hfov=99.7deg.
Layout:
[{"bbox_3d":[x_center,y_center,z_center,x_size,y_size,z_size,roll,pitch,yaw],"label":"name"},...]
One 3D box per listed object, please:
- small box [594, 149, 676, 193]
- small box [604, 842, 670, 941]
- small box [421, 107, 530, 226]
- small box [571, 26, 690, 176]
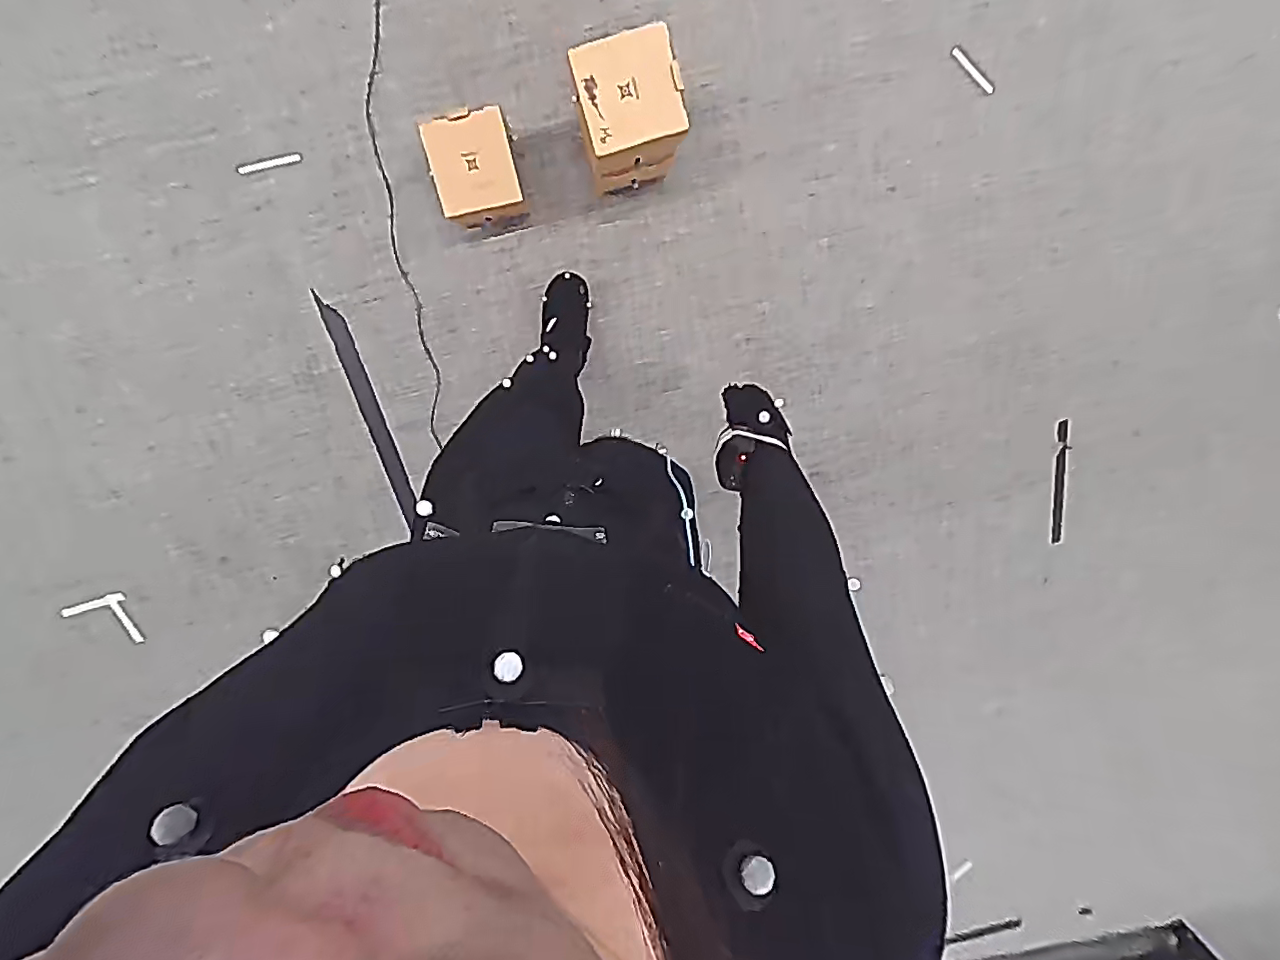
[{"bbox_3d":[-0.032,-0.742,1.158,0.168,0.176,0.179,-16,110,1],"label":"small box"},{"bbox_3d":[-0.014,1.258,1.661,0.179,0.176,0.168,-10,110,-2],"label":"small box"},{"bbox_3d":[-0.342,-0.660,1.159,0.168,0.176,0.179,-12,110,0],"label":"small box"},{"bbox_3d":[-0.023,-0.689,1.002,0.179,0.176,0.168,-17,109,0],"label":"small box"}]
